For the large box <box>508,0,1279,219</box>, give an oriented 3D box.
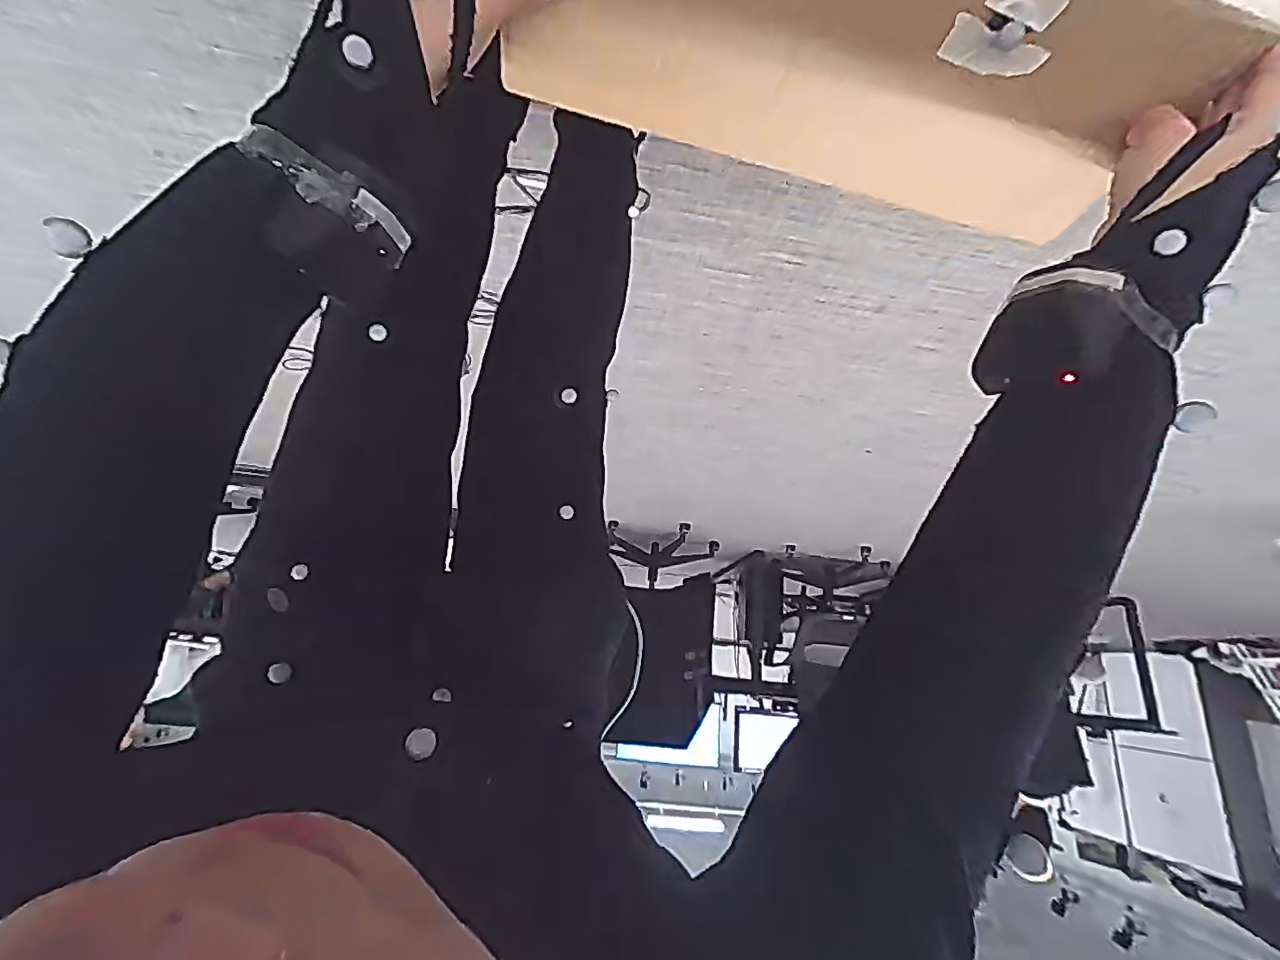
[{"bbox_3d":[0.150,-0.421,0.305,0.408,0.320,0.320,10,155,-9],"label":"large box"}]
